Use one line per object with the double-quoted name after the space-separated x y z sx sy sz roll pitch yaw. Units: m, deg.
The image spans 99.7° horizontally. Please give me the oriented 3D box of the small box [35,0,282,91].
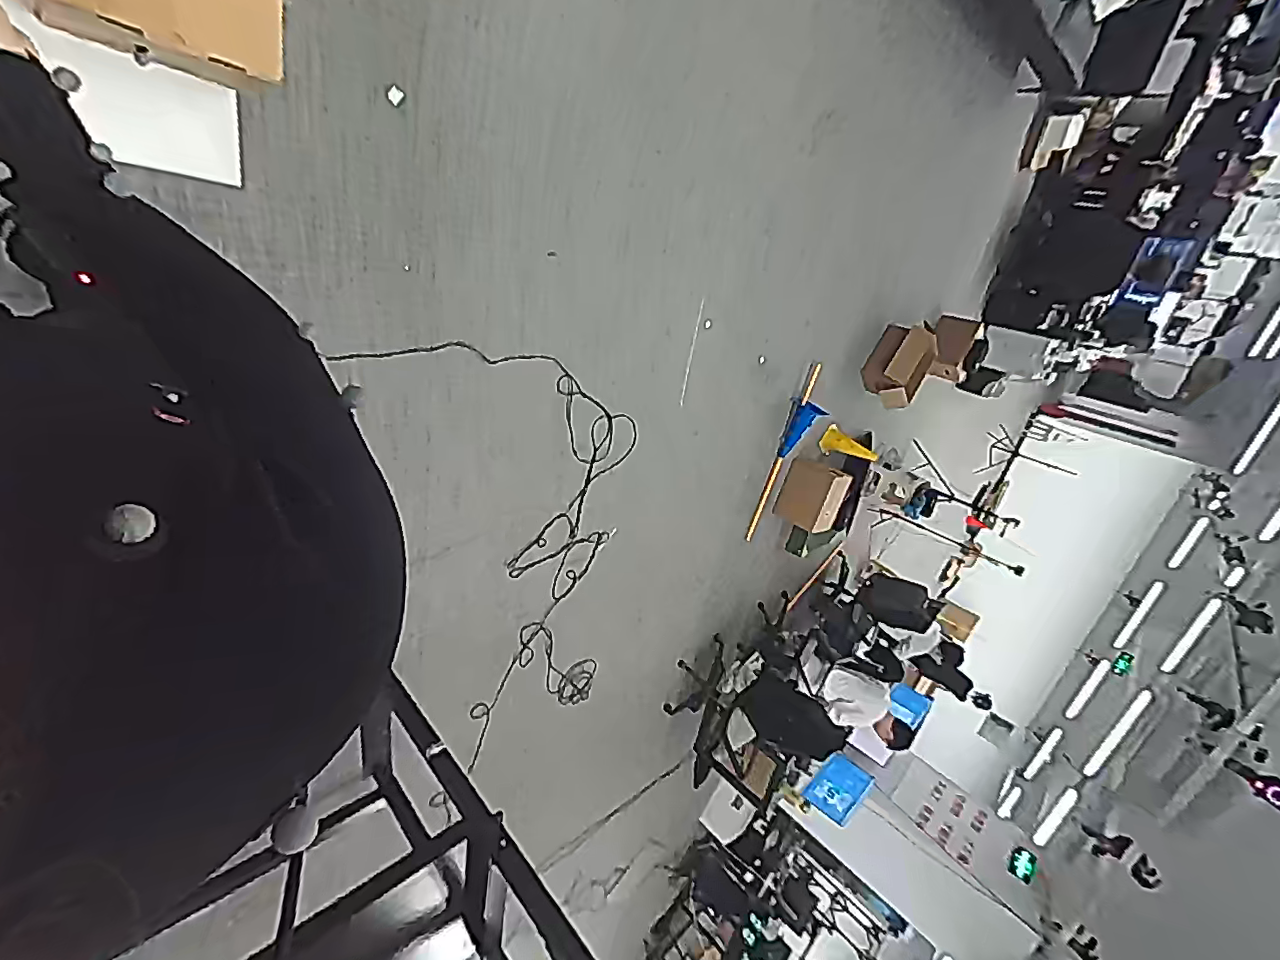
-0.450 -0.492 0.500 0.168 0.176 0.179 -8 120 -46 "small box"
